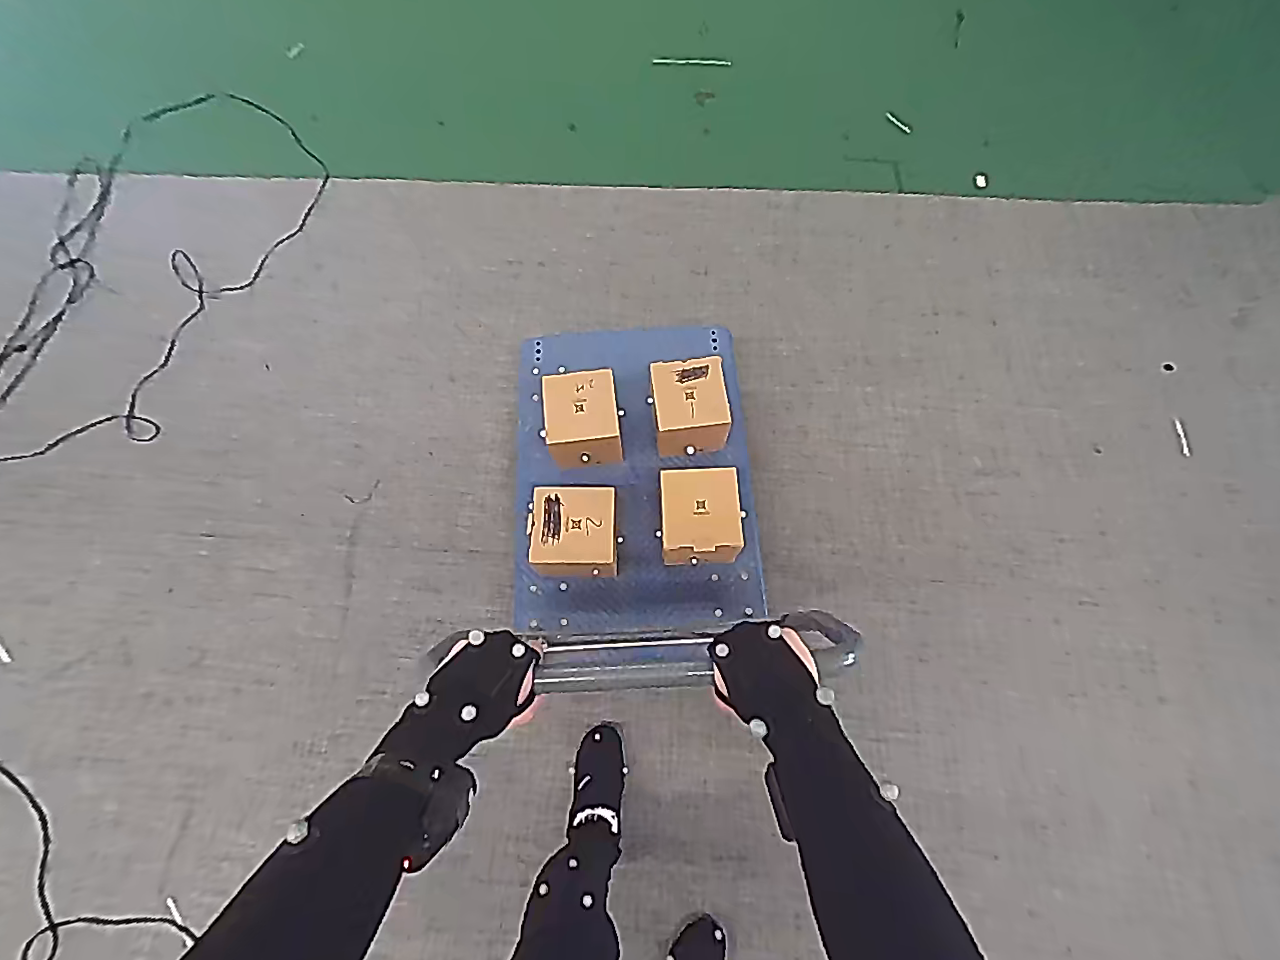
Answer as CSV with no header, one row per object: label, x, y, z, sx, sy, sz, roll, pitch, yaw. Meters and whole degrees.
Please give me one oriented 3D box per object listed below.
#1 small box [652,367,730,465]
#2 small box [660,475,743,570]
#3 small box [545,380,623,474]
small box,0.117,-0.153,1.324,0.168,0.176,0.179,-7,71,0
small box,0.133,0.101,1.232,0.168,0.176,0.179,-3,70,1
small box,-0.133,-0.121,1.320,0.168,0.176,0.179,-7,70,-2
